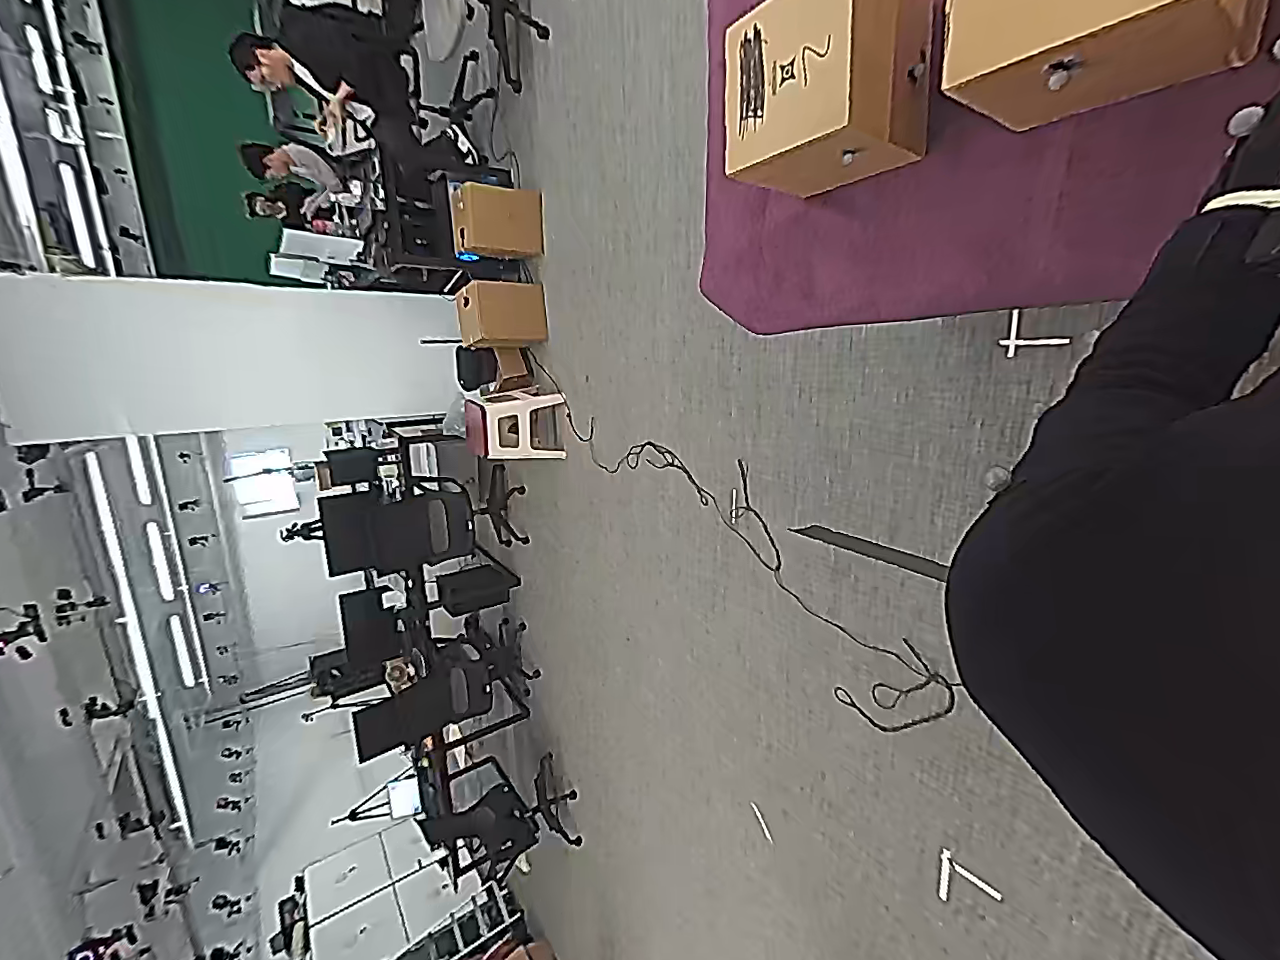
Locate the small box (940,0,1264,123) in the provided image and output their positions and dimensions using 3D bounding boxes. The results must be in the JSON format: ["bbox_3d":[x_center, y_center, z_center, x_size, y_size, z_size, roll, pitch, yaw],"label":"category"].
[{"bbox_3d":[0.381,-0.423,0.439,0.179,0.176,0.168,18,113,54],"label":"small box"}]
